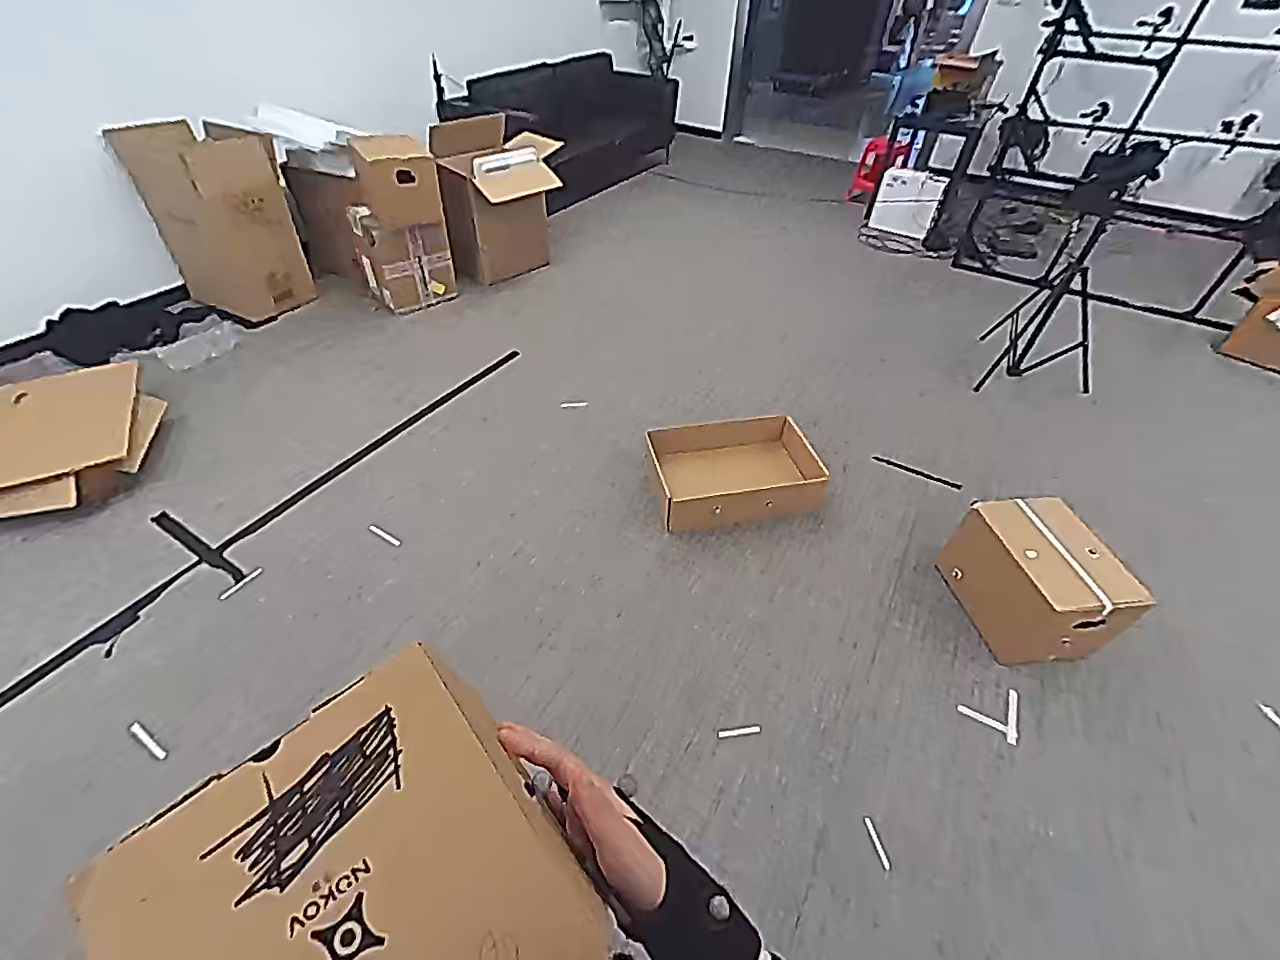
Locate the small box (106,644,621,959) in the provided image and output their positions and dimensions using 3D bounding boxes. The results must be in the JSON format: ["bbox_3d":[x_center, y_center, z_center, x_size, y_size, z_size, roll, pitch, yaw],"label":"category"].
[{"bbox_3d":[-0.130,0.230,0.311,0.168,0.176,0.179,-34,69,-21],"label":"small box"}]
